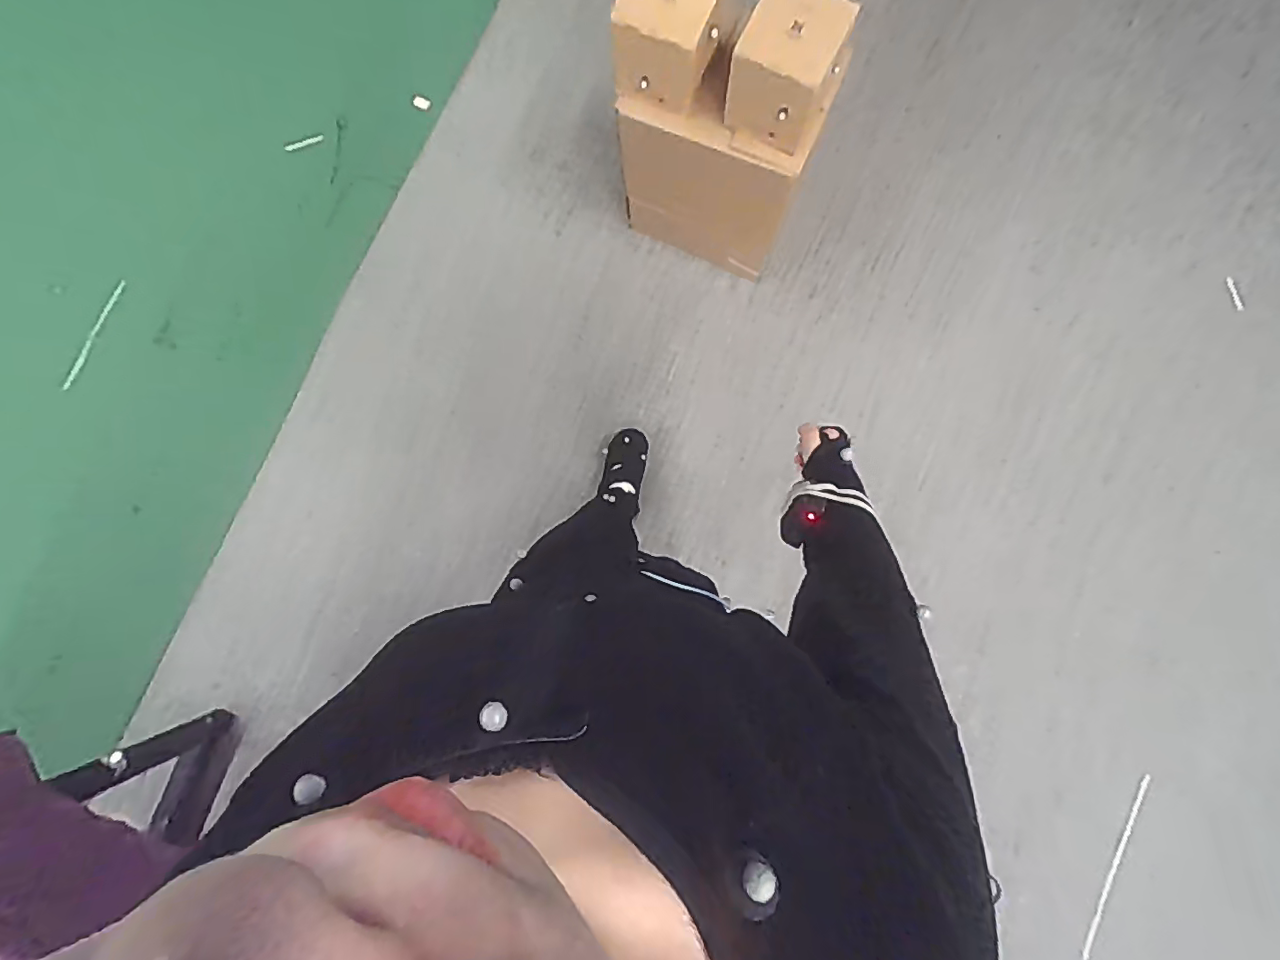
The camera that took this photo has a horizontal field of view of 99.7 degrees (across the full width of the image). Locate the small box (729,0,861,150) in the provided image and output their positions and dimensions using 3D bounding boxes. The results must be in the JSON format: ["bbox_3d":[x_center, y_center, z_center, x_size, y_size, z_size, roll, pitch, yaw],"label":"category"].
[{"bbox_3d":[0.279,-0.772,1.017,0.168,0.176,0.179,27,86,5],"label":"small box"}]

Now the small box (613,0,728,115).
[{"bbox_3d":[0.059,-0.859,1.036,0.168,0.176,0.179,23,88,3],"label":"small box"}]
